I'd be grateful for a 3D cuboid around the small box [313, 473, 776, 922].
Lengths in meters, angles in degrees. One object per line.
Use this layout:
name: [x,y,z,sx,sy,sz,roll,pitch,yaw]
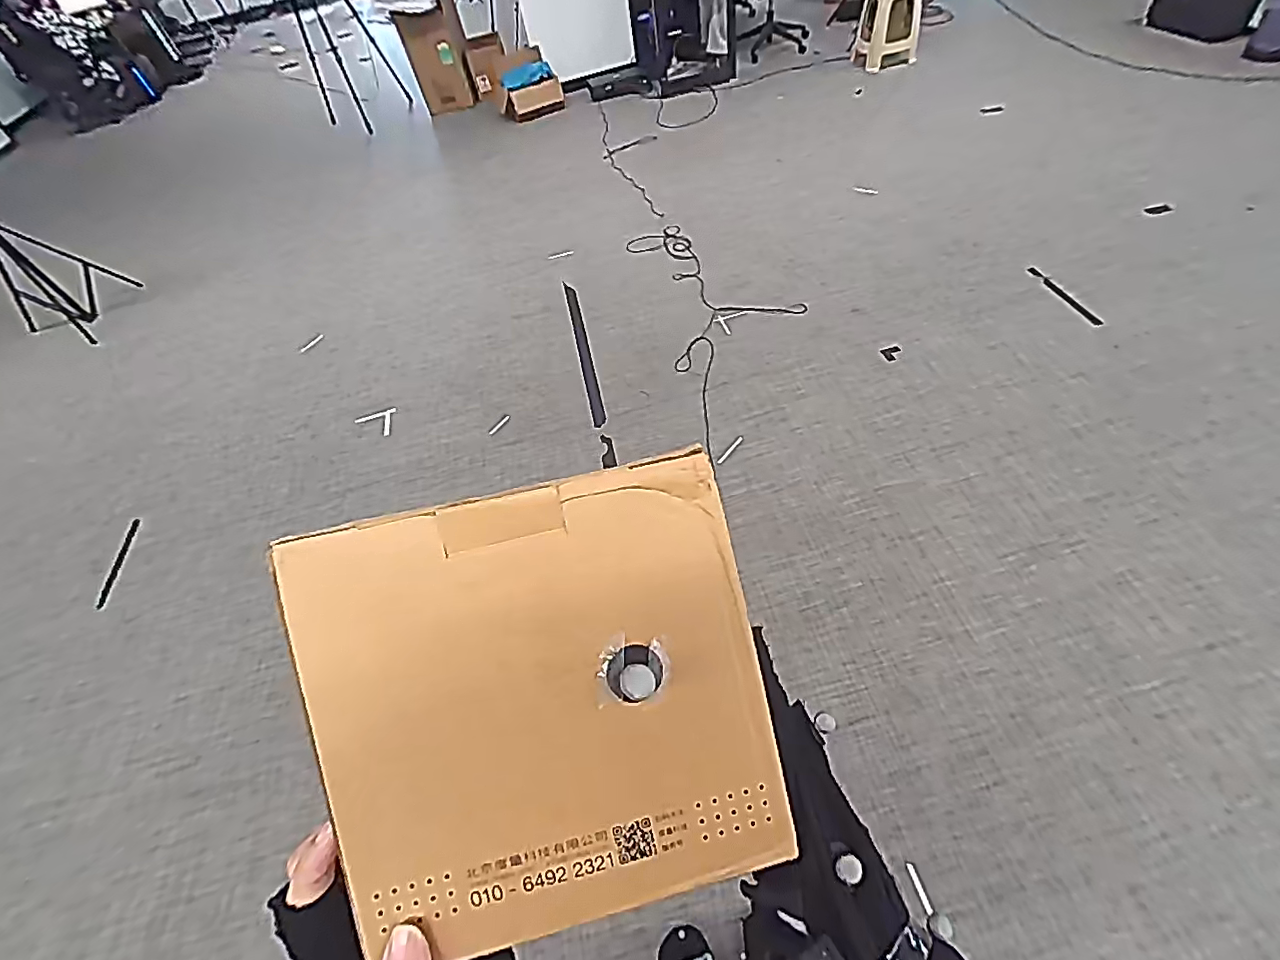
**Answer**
small box: [-0.039,0.097,0.303,0.168,0.179,0.176,-12,91,-5]
